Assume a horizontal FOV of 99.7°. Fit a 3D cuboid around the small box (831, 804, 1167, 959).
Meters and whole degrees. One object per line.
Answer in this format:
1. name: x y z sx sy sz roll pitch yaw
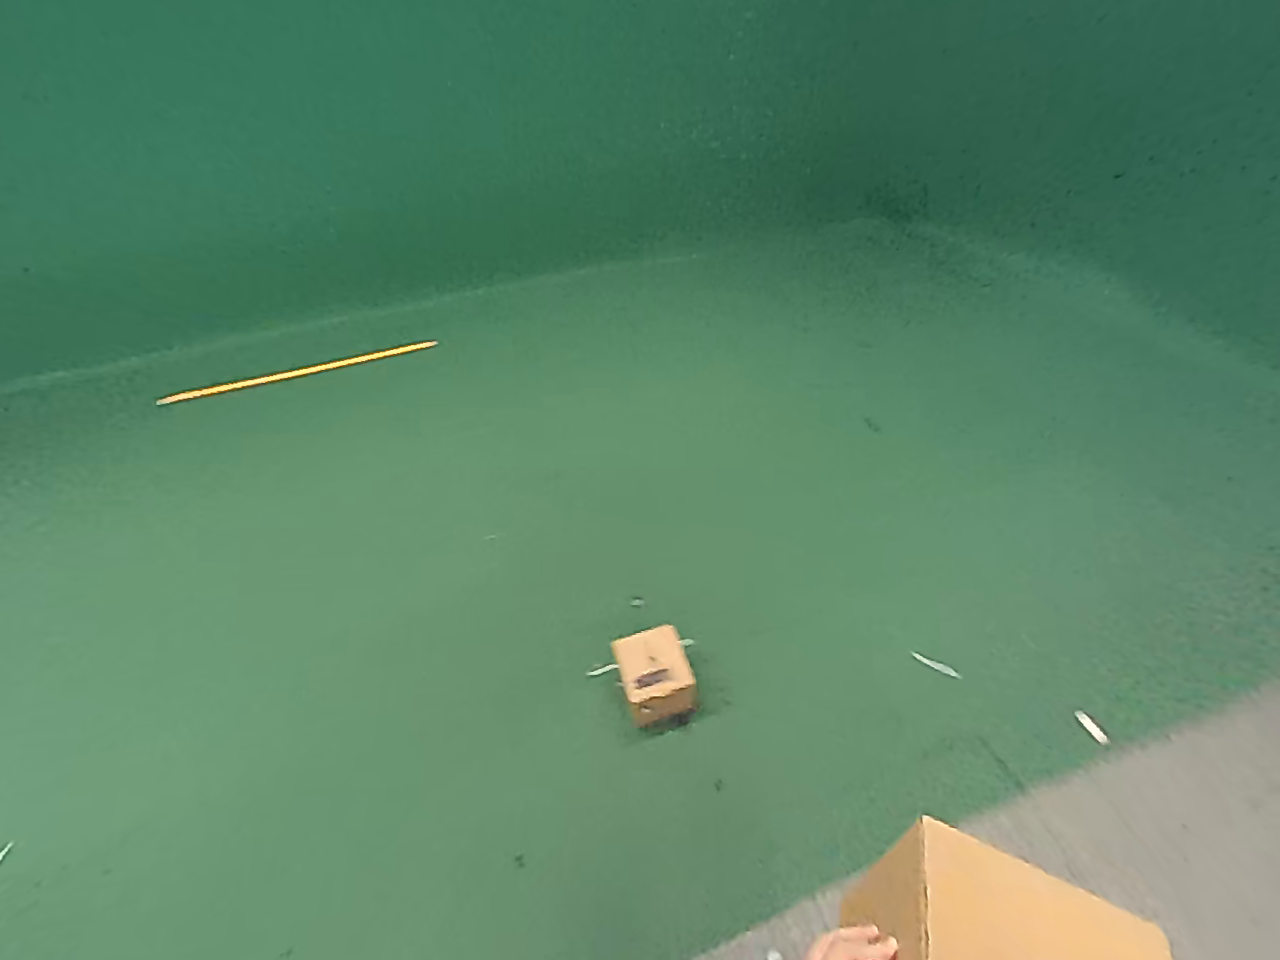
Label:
1. small box: 0.238 0.380 0.372 0.168 0.176 0.179 20 35 13
